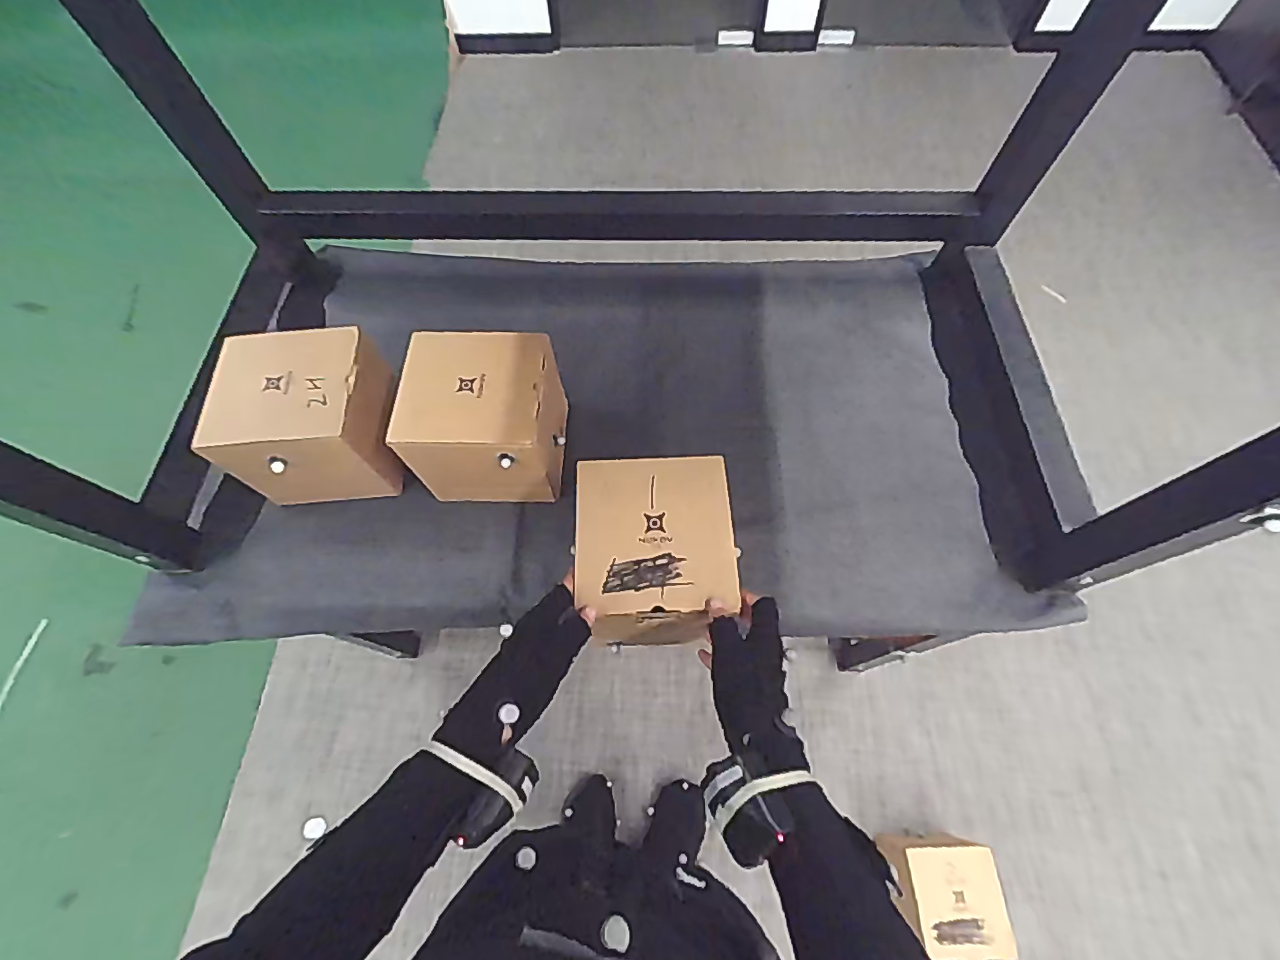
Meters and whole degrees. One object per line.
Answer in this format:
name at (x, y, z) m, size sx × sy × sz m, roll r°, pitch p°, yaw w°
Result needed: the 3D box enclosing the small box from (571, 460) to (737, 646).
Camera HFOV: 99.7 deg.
small box at (0.016, 0.093, 0.630) m, size 0.168 × 0.176 × 0.179 m, roll -2°, pitch 62°, yaw 0°
